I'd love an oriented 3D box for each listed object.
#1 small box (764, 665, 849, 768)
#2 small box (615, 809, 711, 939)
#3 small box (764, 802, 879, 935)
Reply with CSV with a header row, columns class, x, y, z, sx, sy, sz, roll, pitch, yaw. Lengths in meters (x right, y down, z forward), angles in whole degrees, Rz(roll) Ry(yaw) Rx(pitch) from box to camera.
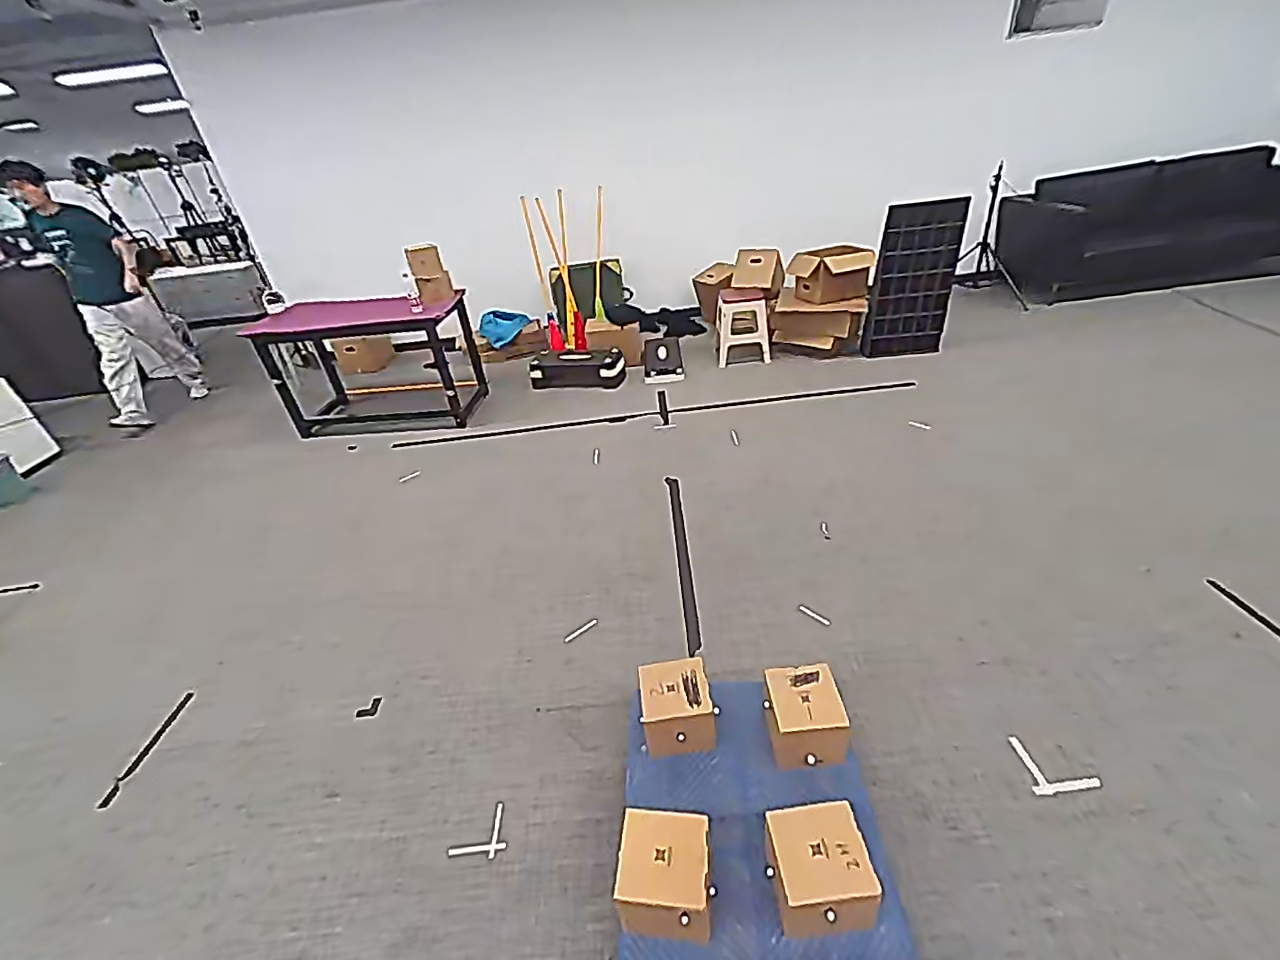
class,x,y,z,sx,sy,sz,roll,pitch,yaw
small box,0.413,0.600,1.373,0.168,0.176,0.179,-7,34,2
small box,0.055,0.816,1.122,0.179,0.176,0.168,0,33,9
small box,0.359,0.789,1.098,0.179,0.176,0.168,-8,33,0
